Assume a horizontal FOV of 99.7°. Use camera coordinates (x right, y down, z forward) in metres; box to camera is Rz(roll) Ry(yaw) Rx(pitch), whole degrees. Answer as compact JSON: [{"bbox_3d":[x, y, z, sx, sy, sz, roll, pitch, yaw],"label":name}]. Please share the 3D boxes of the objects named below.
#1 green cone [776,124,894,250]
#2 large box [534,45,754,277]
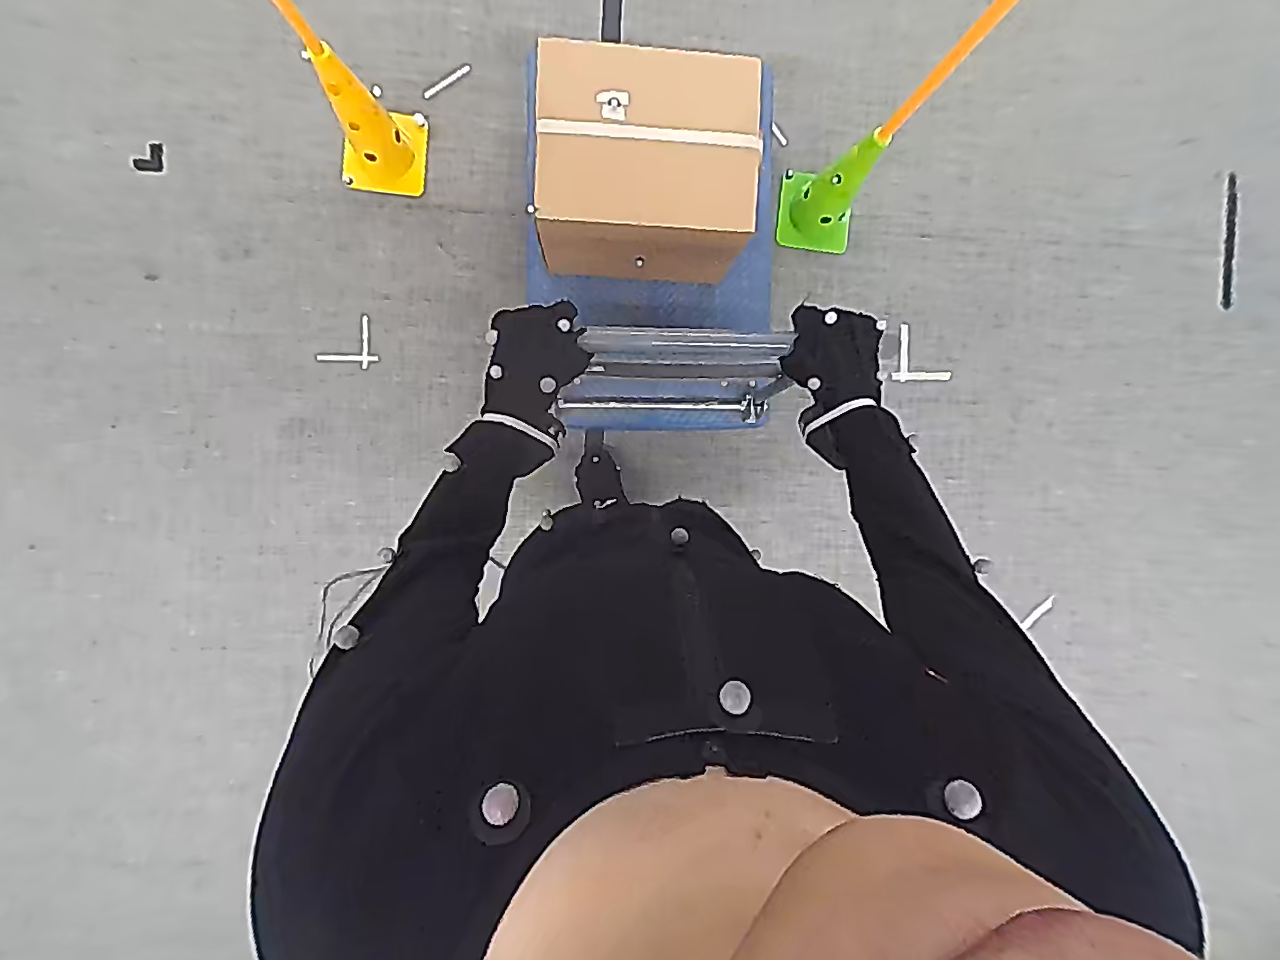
[{"bbox_3d":[0.492,-0.732,1.311,0.202,0.368,0.200,5,92,-6],"label":"green cone"},{"bbox_3d":[0.001,-0.630,1.131,0.408,0.320,0.320,2,93,-4],"label":"large box"}]
